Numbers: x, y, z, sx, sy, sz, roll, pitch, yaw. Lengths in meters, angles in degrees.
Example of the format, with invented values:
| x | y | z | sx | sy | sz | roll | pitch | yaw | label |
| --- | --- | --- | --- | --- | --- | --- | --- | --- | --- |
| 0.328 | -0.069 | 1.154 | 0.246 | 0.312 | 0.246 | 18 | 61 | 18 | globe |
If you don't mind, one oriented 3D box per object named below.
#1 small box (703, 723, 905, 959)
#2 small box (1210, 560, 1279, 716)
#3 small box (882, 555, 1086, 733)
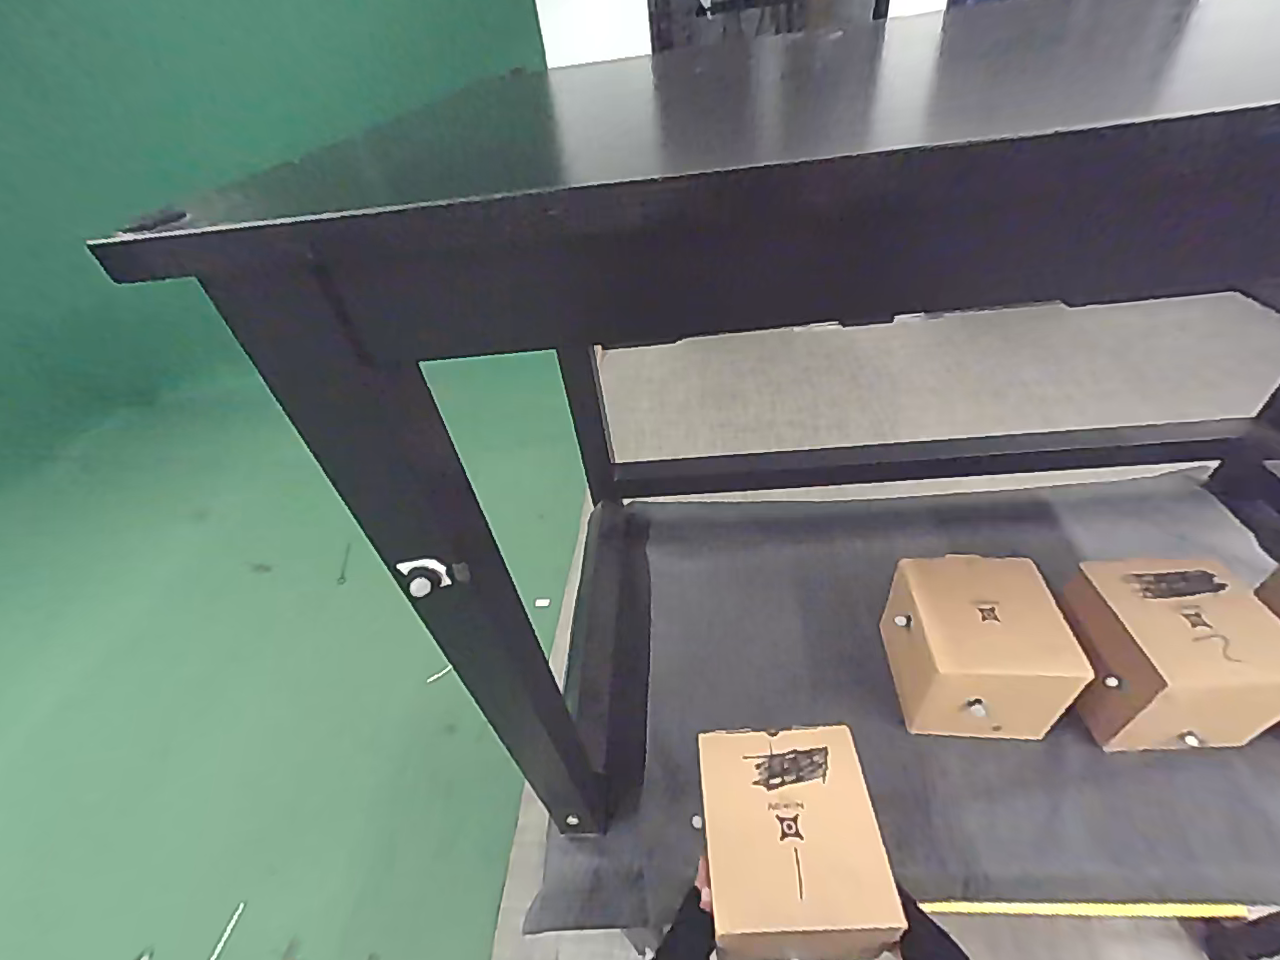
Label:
| x | y | z | sx | sy | sz | roll | pitch | yaw | label |
| --- | --- | --- | --- | --- | --- | --- | --- | --- | --- |
| 0.156 | 0.389 | 0.586 | 0.168 | 0.176 | 0.179 | -5 | 41 | 4 | small box |
| 0.884 | 0.211 | 0.657 | 0.168 | 0.176 | 0.179 | -5 | 40 | 5 | small box |
| 0.443 | 0.221 | 0.733 | 0.168 | 0.176 | 0.179 | -1 | 41 | 9 | small box |
